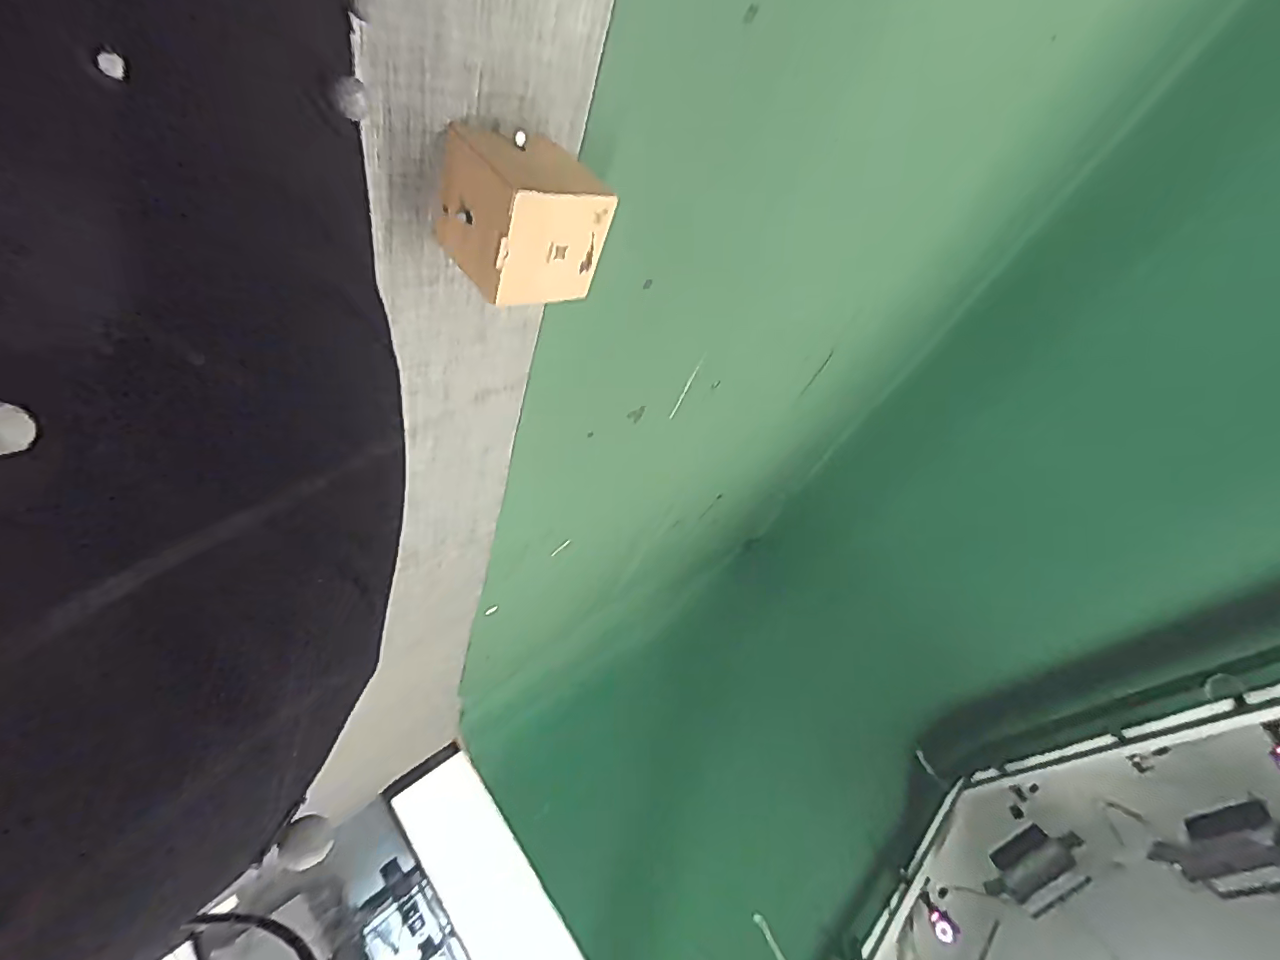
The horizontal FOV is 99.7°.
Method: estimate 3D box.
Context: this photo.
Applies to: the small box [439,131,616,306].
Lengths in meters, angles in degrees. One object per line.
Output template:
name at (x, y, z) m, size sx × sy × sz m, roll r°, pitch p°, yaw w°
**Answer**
small box at (-0.171, -0.377, 0.787) m, size 0.179 × 0.176 × 0.168 m, roll -22°, pitch 153°, yaw -40°
